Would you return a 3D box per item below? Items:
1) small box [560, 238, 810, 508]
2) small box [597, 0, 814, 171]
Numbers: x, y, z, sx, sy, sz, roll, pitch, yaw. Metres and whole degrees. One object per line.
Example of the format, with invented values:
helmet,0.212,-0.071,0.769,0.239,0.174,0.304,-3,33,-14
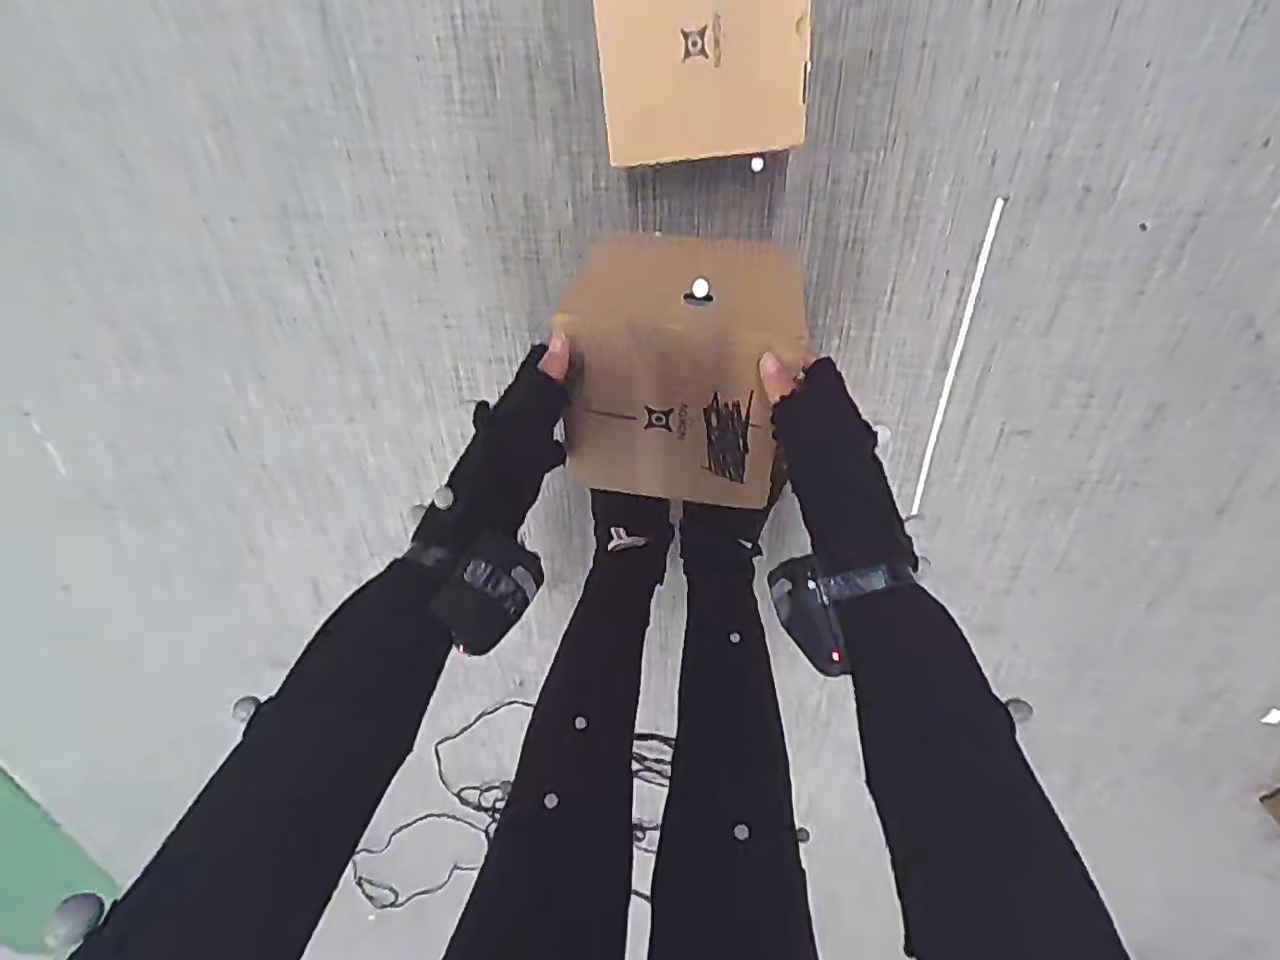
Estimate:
small box,0.039,-0.100,0.479,0.179,0.176,0.168,8,133,6
small box,0.066,-0.398,0.517,0.179,0.176,0.168,-1,119,10
